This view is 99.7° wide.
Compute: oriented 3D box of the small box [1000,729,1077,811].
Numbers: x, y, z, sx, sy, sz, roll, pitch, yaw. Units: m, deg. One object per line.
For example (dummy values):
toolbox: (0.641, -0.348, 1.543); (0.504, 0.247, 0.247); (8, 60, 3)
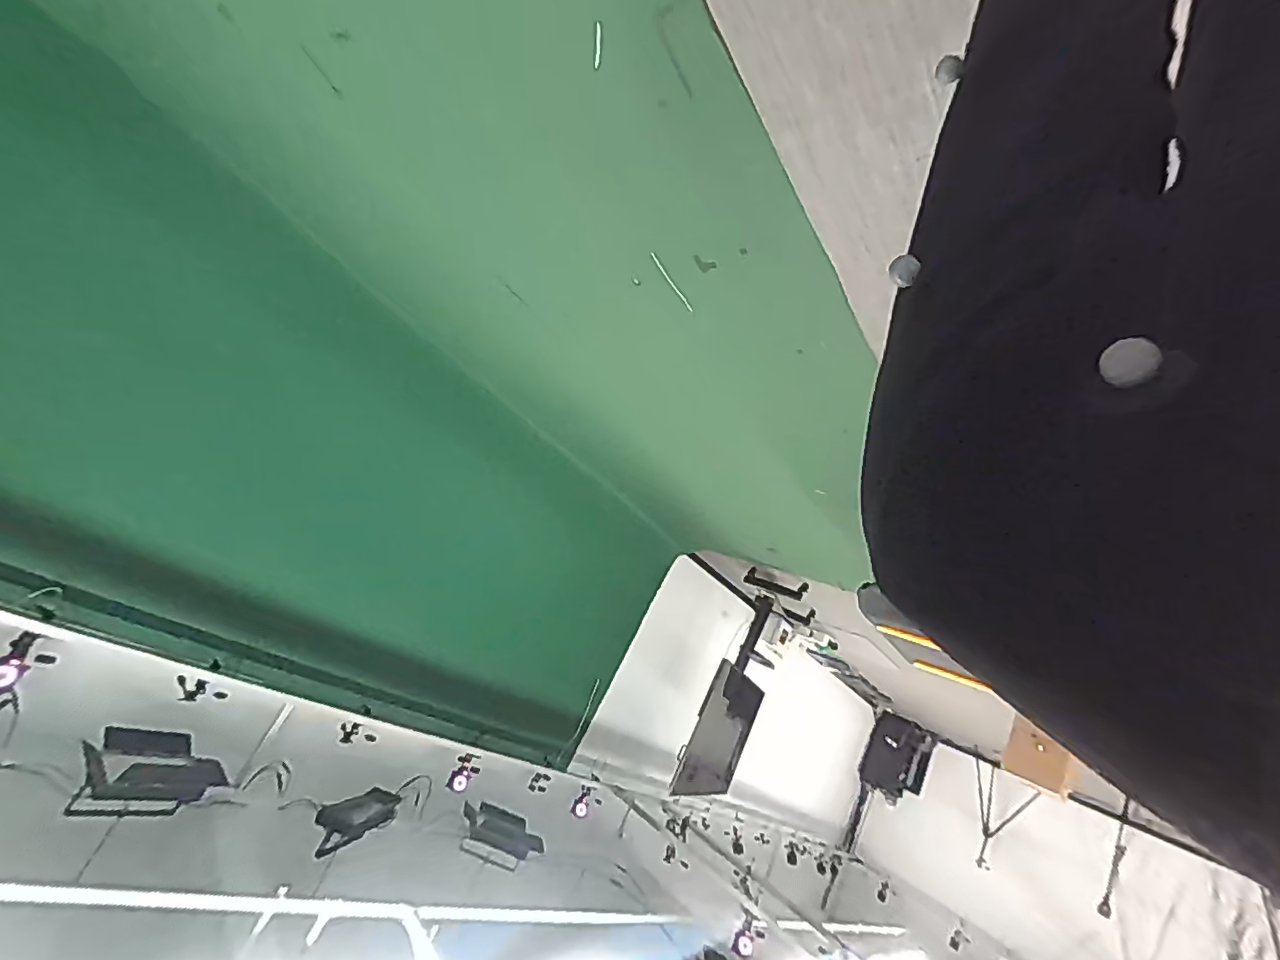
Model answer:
small box: (1.335, 0.963, 1.804); (0.168, 0.176, 0.179); (10, 155, 48)

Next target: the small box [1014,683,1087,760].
small box: (1.410, 0.824, 1.852); (0.168, 0.176, 0.179); (9, 155, 47)
